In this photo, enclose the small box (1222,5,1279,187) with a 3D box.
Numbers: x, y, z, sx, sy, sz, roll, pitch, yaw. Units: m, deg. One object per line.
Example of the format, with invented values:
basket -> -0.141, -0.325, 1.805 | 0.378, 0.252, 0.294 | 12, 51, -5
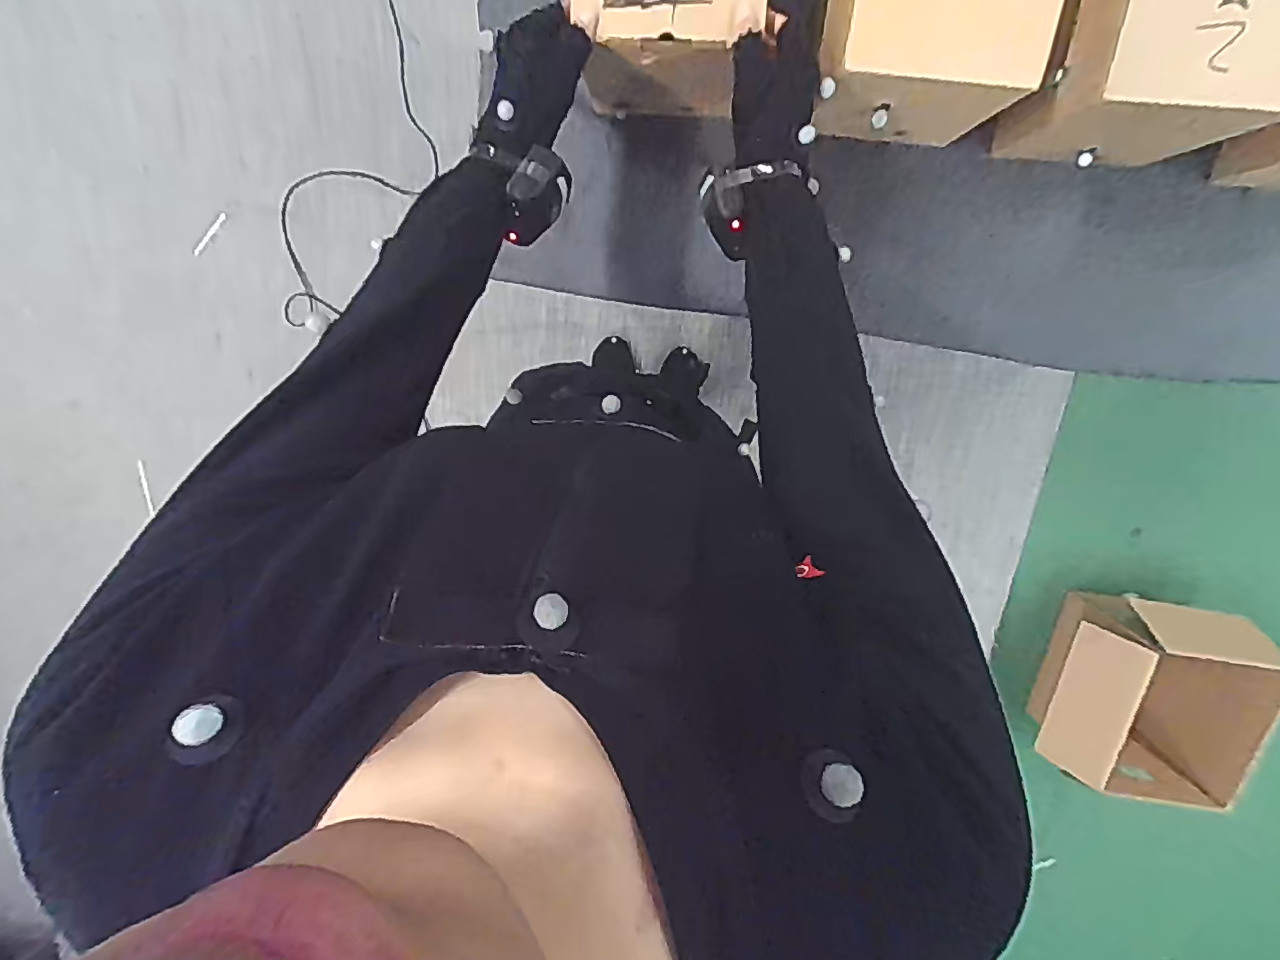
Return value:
small box -> 0.712, -0.382, 0.492 | 0.168, 0.176, 0.179 | 6, 106, 2
